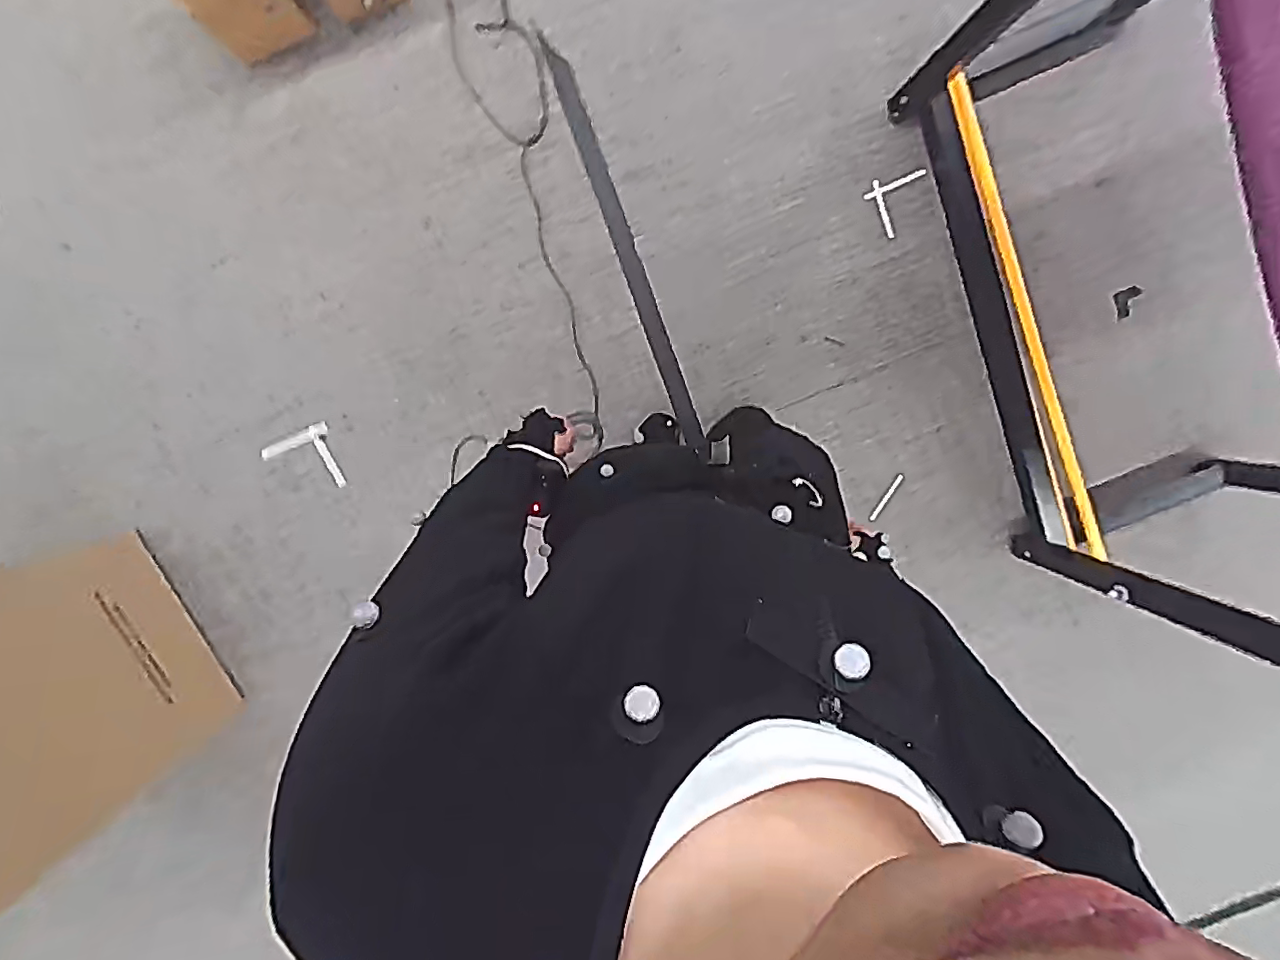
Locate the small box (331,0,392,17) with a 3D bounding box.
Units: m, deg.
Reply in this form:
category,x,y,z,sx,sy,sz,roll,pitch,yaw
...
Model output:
category,x,y,z,sx,sy,sz,roll,pitch,yaw
small box,-0.586,-1.070,1.052,0.168,0.176,0.179,-22,102,1
